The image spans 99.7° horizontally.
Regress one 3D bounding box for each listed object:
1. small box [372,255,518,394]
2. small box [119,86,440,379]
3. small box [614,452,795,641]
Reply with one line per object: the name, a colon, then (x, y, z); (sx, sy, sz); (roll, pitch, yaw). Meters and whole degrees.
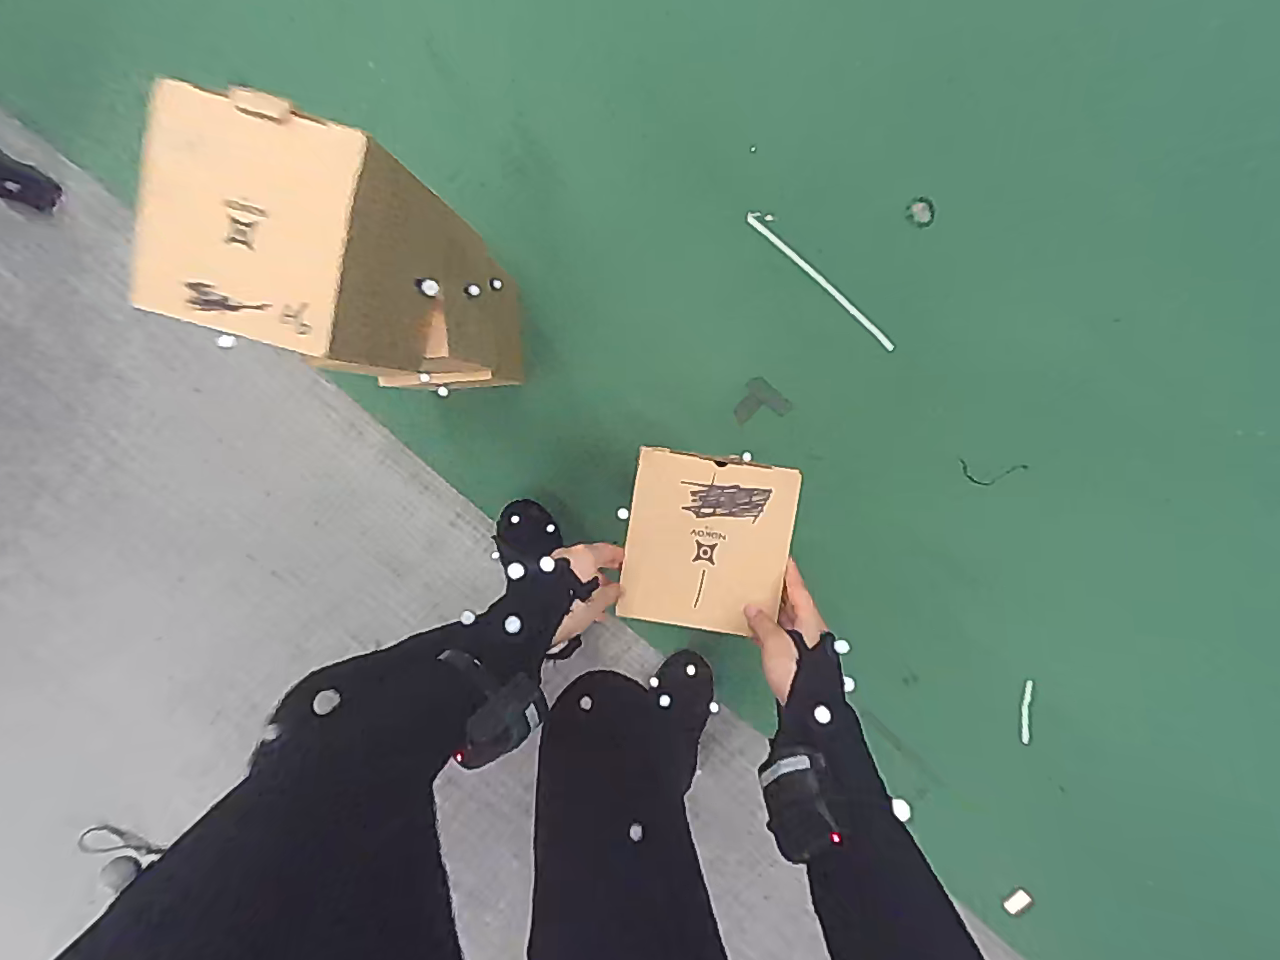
small box: (-0.291, -0.222, 0.819); (0.168, 0.176, 0.179); (-4, 97, 4)
small box: (-0.302, -0.200, 0.490); (0.168, 0.176, 0.179); (15, 98, 1)
small box: (0.066, 0.064, 0.629); (0.168, 0.176, 0.179); (8, 94, 1)
